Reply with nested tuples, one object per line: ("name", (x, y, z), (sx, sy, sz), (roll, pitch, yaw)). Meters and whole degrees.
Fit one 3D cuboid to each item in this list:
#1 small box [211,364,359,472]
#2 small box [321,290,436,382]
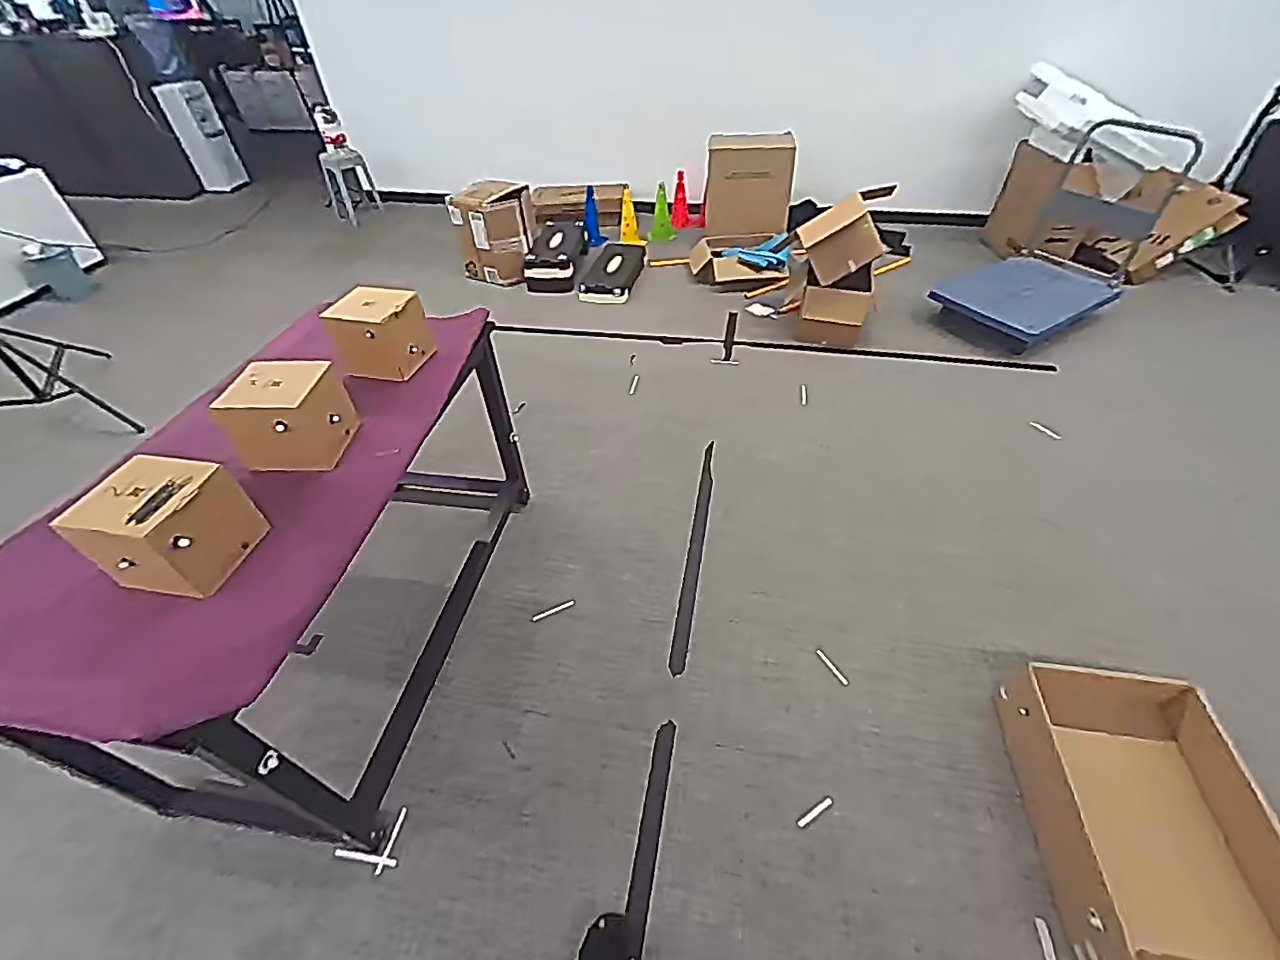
("small box", (-0.733, -0.130, 1.145), (0.179, 0.176, 0.168), (-1, 44, 2))
("small box", (-0.660, -0.367, 1.385), (0.179, 0.176, 0.168), (8, 46, 12))
